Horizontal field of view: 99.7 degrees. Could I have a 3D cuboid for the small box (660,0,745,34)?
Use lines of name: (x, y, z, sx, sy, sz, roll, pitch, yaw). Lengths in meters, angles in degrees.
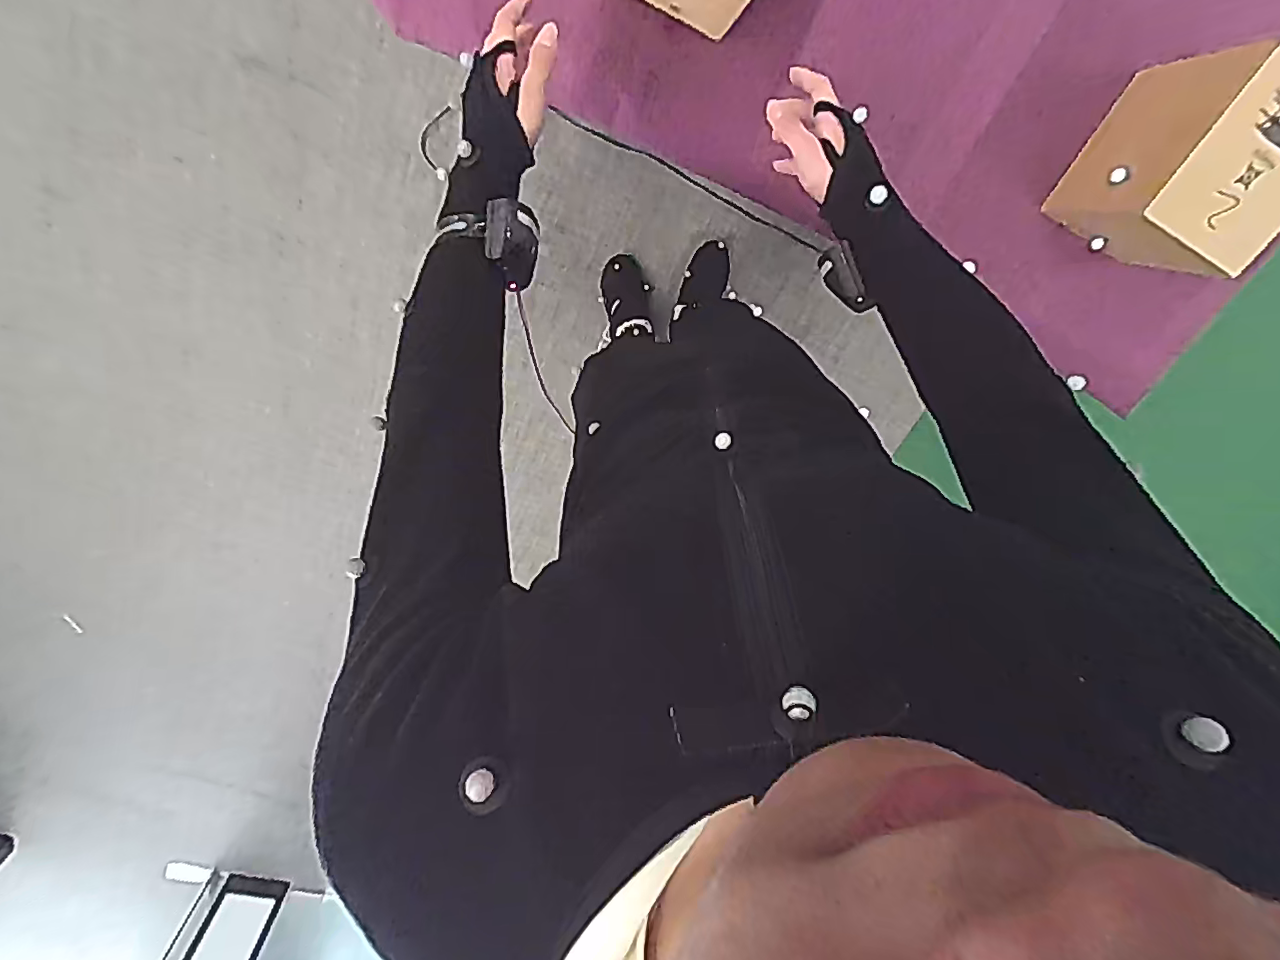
small box: (0.059, -0.579, 0.517, 0.168, 0.176, 0.179, 19, 114, -13)
